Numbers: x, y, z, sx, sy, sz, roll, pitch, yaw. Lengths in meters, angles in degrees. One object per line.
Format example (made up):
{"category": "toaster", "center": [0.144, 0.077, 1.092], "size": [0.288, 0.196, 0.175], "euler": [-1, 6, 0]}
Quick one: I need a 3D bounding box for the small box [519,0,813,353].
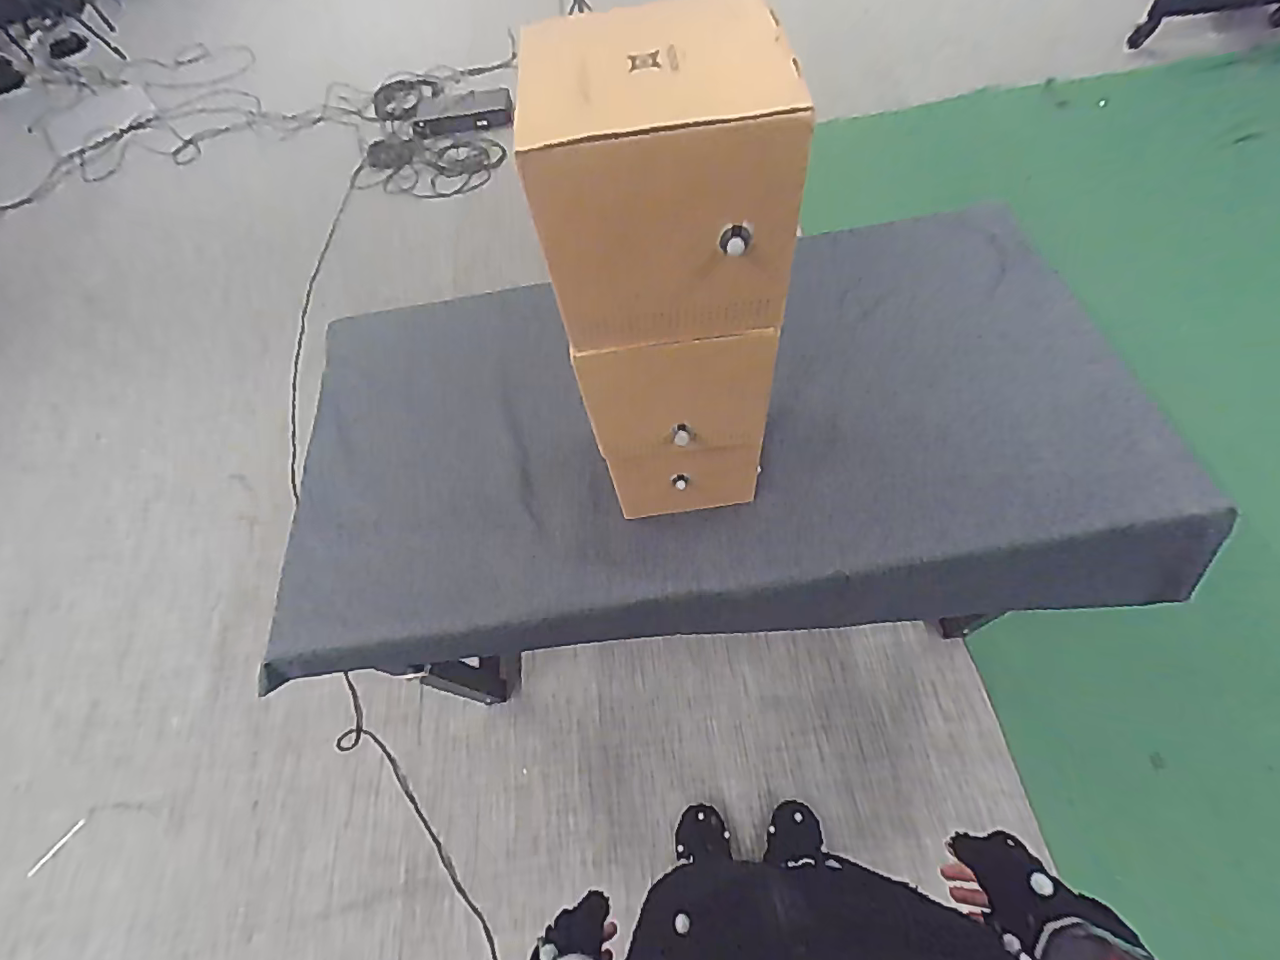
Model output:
{"category": "small box", "center": [0.017, -0.223, 0.421], "size": [0.179, 0.176, 0.168], "euler": [-8, 60, 4]}

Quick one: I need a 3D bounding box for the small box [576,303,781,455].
{"category": "small box", "center": [0.033, -0.142, 0.561], "size": [0.179, 0.176, 0.168], "euler": [-7, 60, 3]}

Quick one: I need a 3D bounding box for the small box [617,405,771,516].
{"category": "small box", "center": [0.055, -0.069, 0.705], "size": [0.179, 0.176, 0.168], "euler": [-11, 61, 0]}
